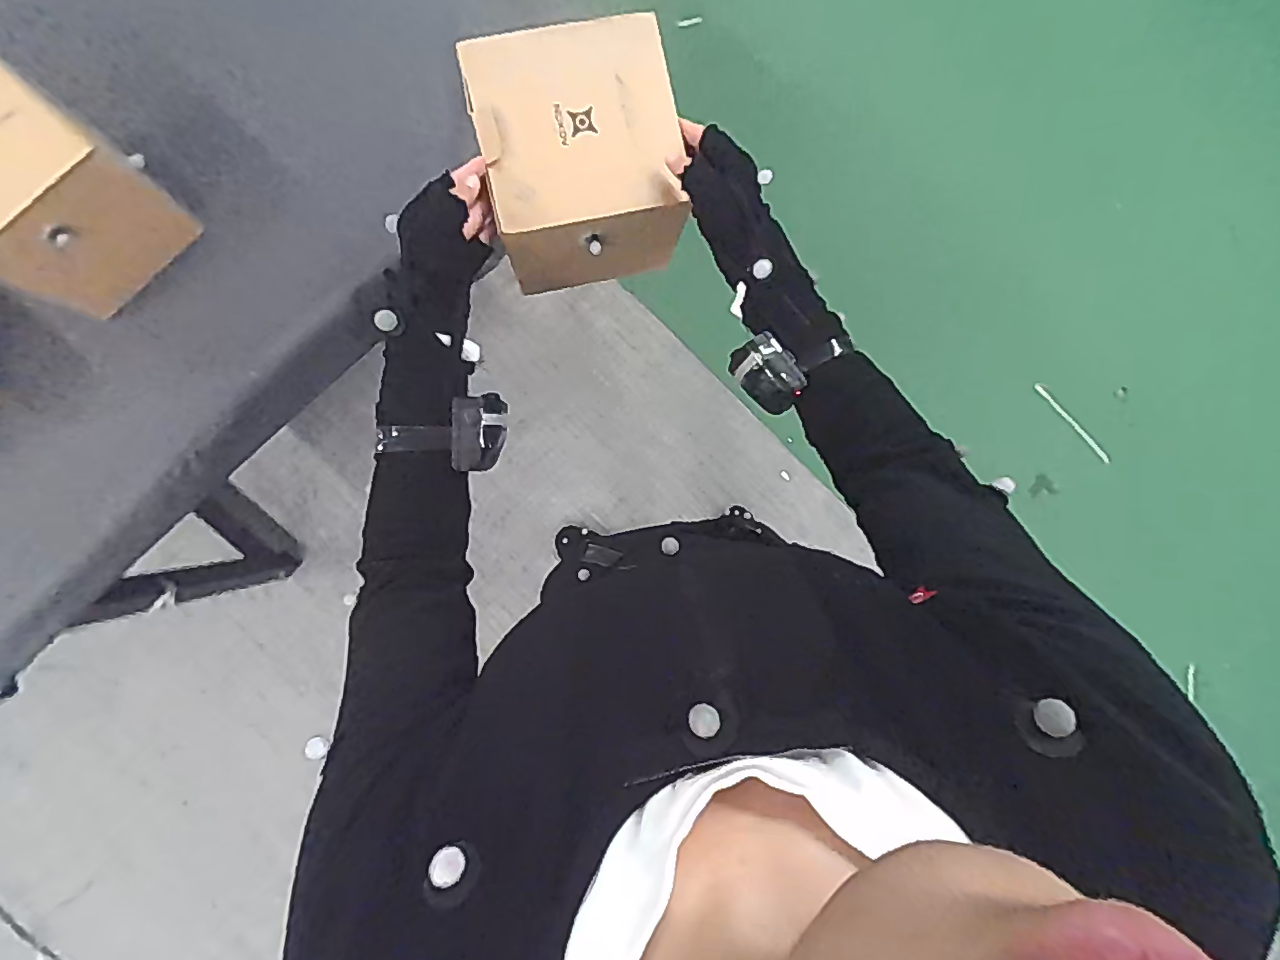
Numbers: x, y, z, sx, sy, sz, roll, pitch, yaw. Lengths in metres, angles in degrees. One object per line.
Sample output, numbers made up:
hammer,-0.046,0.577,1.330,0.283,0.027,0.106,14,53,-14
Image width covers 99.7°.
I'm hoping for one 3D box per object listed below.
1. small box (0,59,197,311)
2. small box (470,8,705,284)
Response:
small box,-0.690,-0.332,0.632,0.168,0.176,0.179,42,84,-2
small box,-0.051,-0.314,0.544,0.179,0.176,0.168,-13,94,-7
